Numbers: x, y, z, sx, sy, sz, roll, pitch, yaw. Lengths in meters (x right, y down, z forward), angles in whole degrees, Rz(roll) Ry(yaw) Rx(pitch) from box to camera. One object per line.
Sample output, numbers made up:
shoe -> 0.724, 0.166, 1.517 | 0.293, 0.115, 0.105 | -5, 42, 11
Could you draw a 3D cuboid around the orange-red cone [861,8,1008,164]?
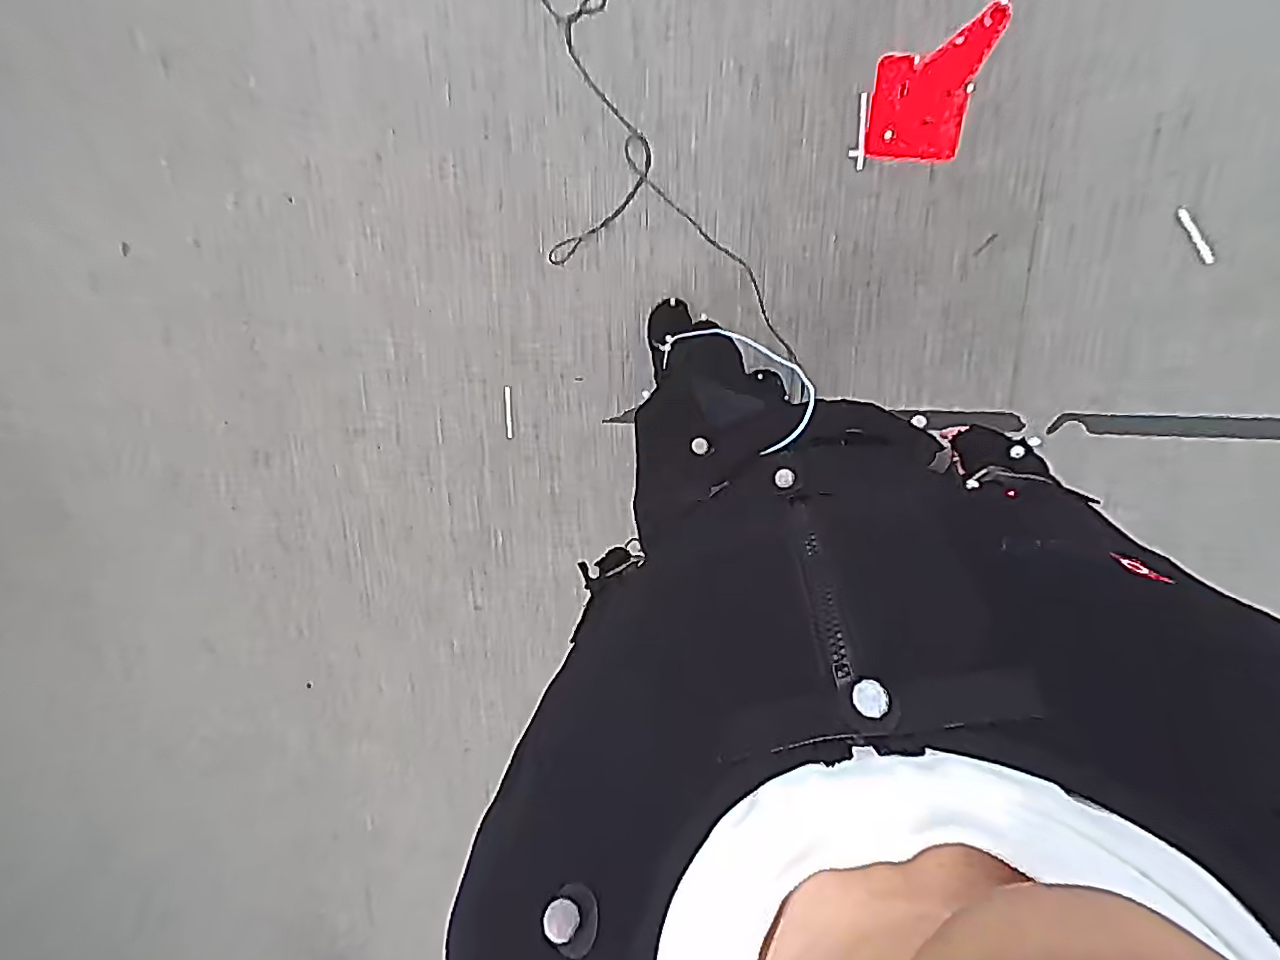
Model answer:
orange-red cone -> 0.579, -0.761, 1.011 | 0.199, 0.360, 0.198 | 8, 105, 4
